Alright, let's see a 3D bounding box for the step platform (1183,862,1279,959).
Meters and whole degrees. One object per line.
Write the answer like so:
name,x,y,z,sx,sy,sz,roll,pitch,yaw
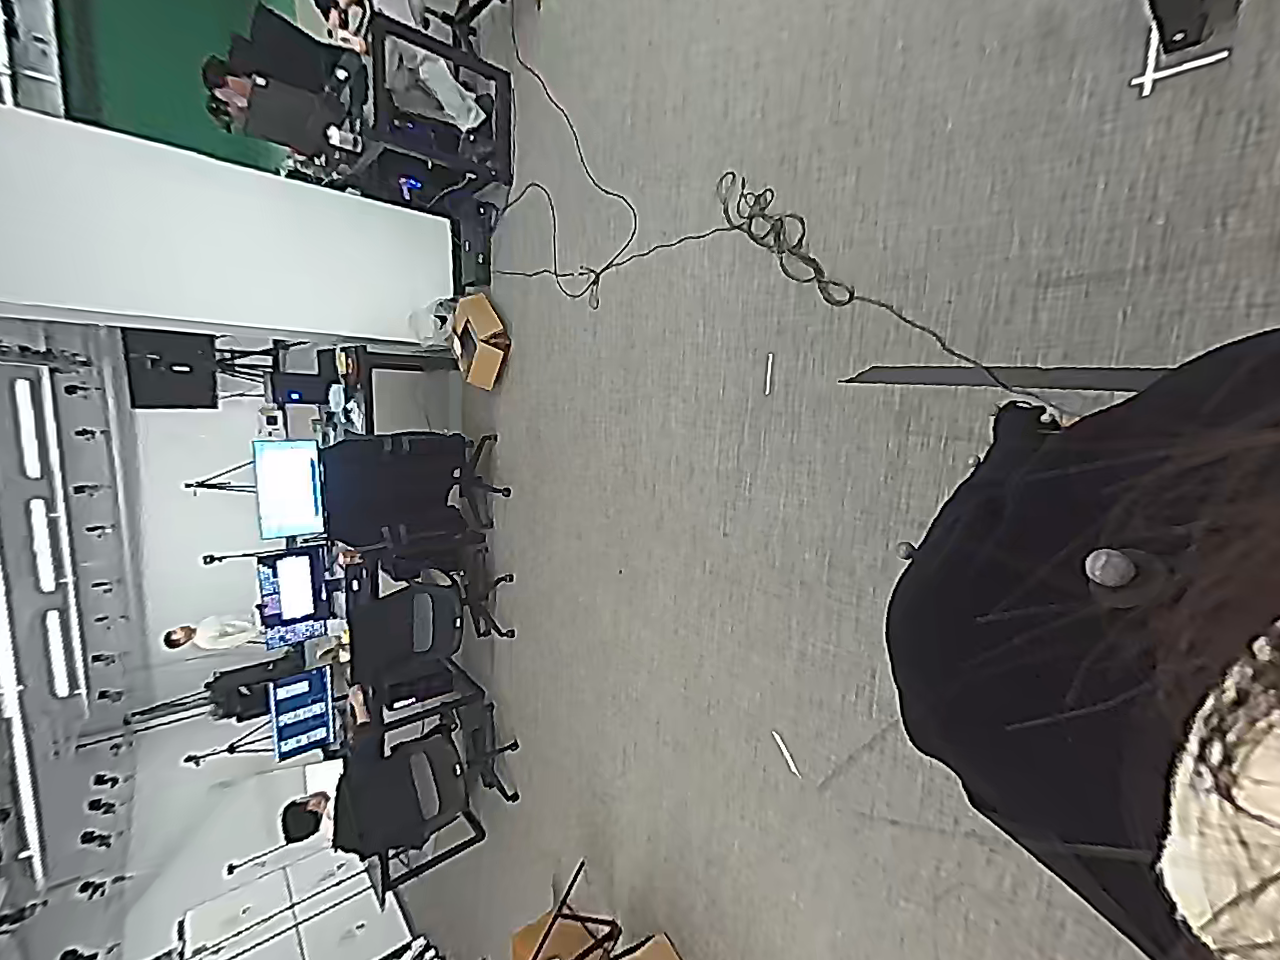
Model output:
step platform,1.291,0.962,0.800,0.684,0.204,0.286,21,110,46
